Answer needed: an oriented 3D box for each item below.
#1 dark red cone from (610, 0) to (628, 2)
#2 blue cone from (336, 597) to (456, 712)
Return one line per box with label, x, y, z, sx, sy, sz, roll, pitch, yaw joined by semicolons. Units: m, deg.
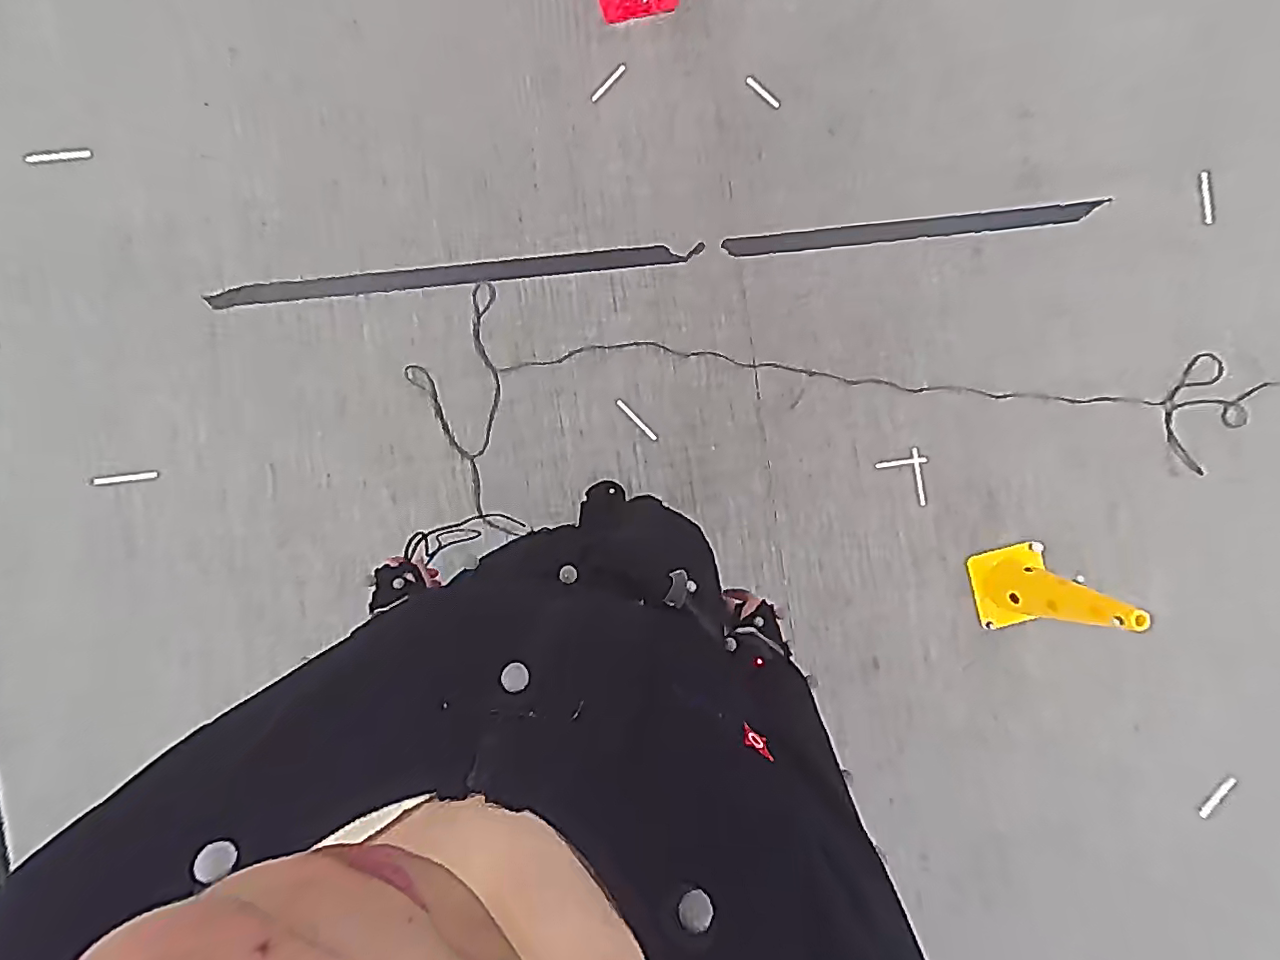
dark red cone;-0.005;-1.276;1.160;0.202;0.394;0.201;-15;92;-2
blue cone;-0.556;0.396;1.183;0.193;0.380;0.192;-7;92;-2
